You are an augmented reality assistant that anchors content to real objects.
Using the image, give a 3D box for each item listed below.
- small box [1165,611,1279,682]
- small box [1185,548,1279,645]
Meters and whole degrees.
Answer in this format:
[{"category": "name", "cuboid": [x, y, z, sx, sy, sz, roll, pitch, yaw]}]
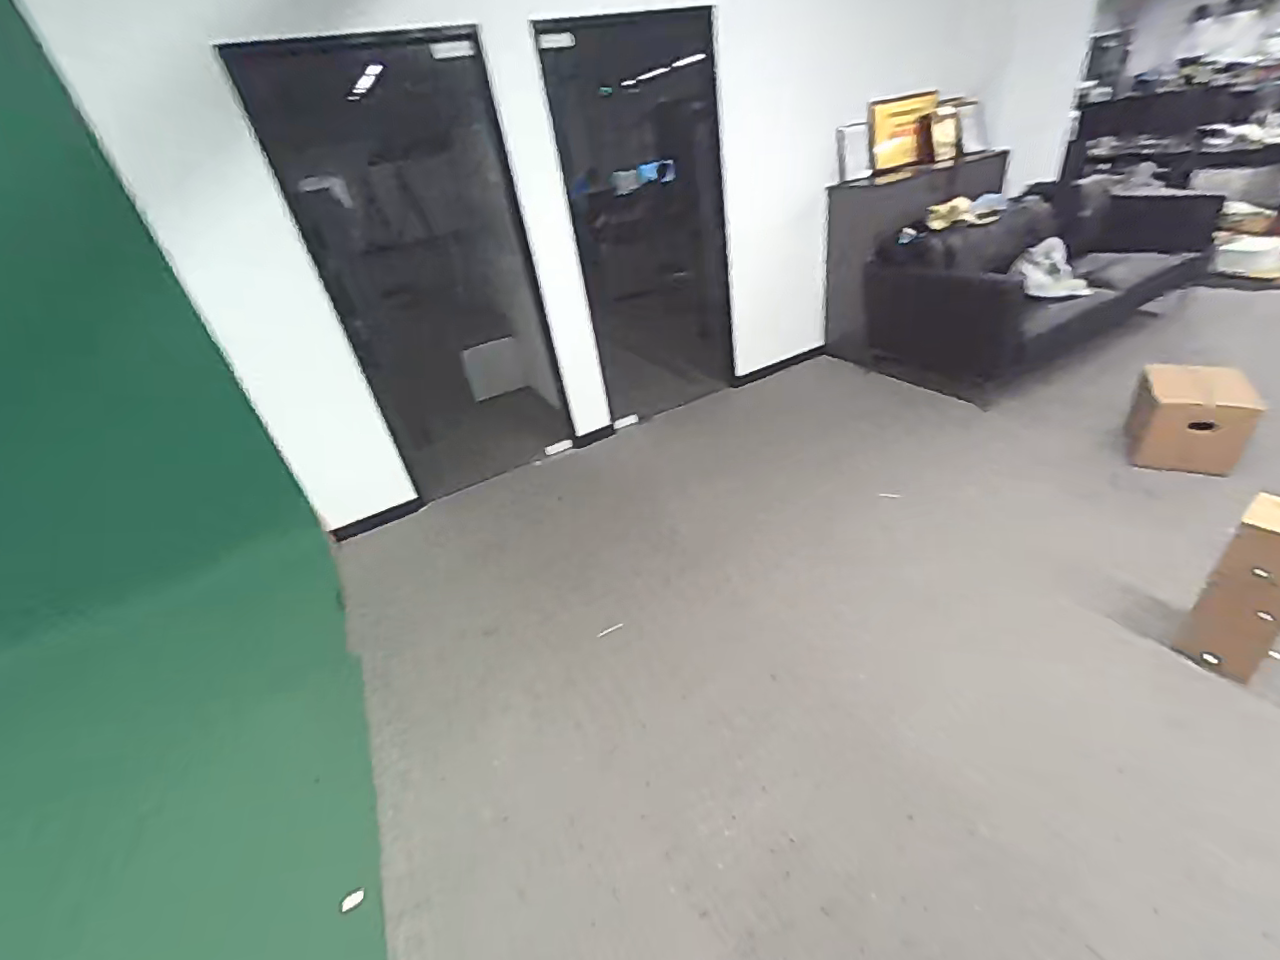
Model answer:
[{"category": "small box", "cuboid": [1.700, 0.456, 1.571, 0.168, 0.176, 0.179, -24, 34, -22]}, {"category": "small box", "cuboid": [1.666, 0.323, 1.482, 0.168, 0.176, 0.179, -24, 33, -24]}]
